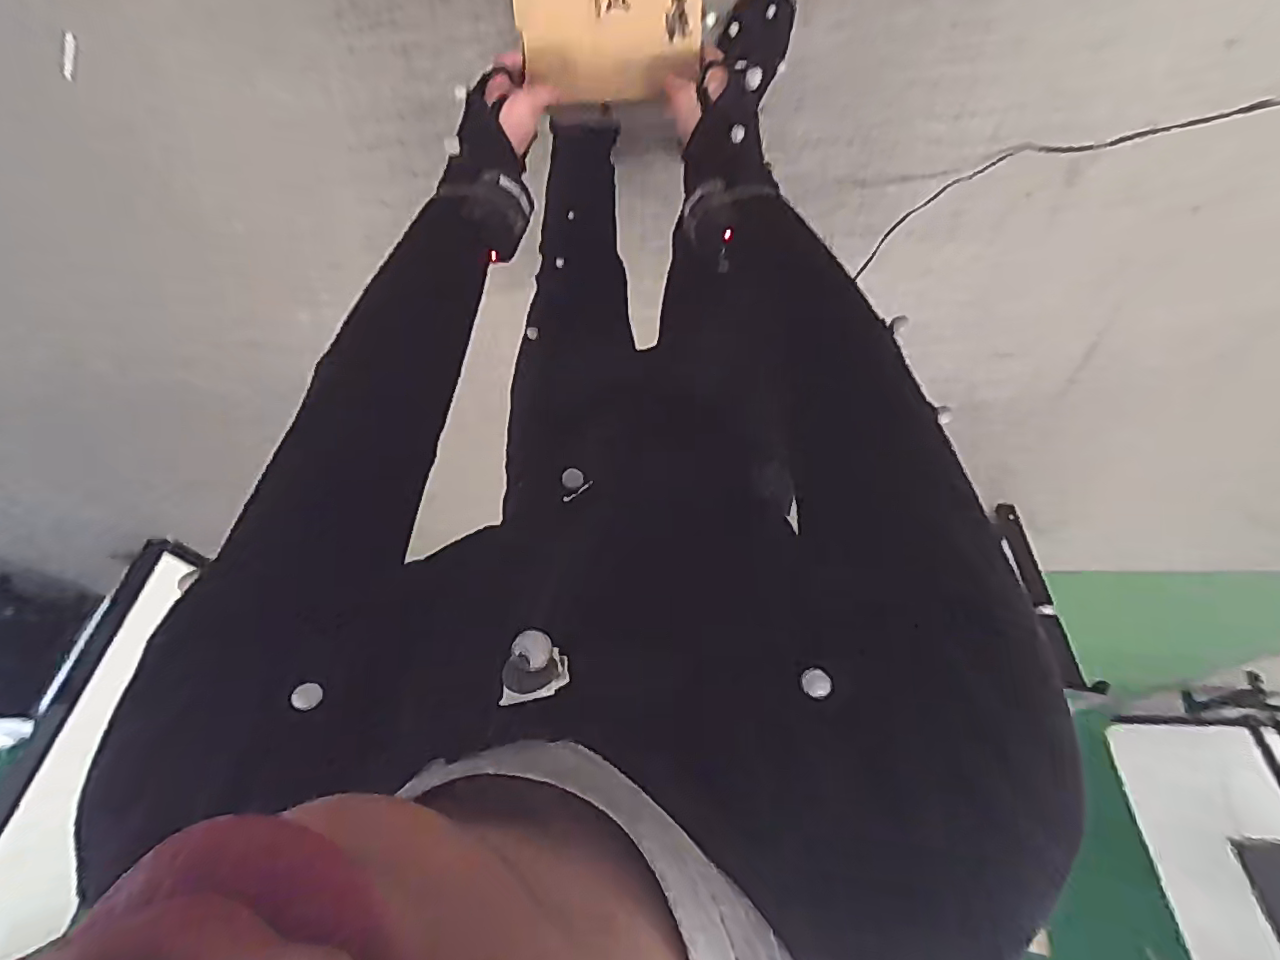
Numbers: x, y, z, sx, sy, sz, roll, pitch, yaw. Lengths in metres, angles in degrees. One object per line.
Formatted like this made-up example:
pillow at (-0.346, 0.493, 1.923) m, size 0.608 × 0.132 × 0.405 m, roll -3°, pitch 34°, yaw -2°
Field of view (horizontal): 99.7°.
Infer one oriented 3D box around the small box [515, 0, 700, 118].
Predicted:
small box at (-0.026, -0.495, 0.572) m, size 0.179 × 0.176 × 0.168 m, roll 1°, pitch 116°, yaw 5°
